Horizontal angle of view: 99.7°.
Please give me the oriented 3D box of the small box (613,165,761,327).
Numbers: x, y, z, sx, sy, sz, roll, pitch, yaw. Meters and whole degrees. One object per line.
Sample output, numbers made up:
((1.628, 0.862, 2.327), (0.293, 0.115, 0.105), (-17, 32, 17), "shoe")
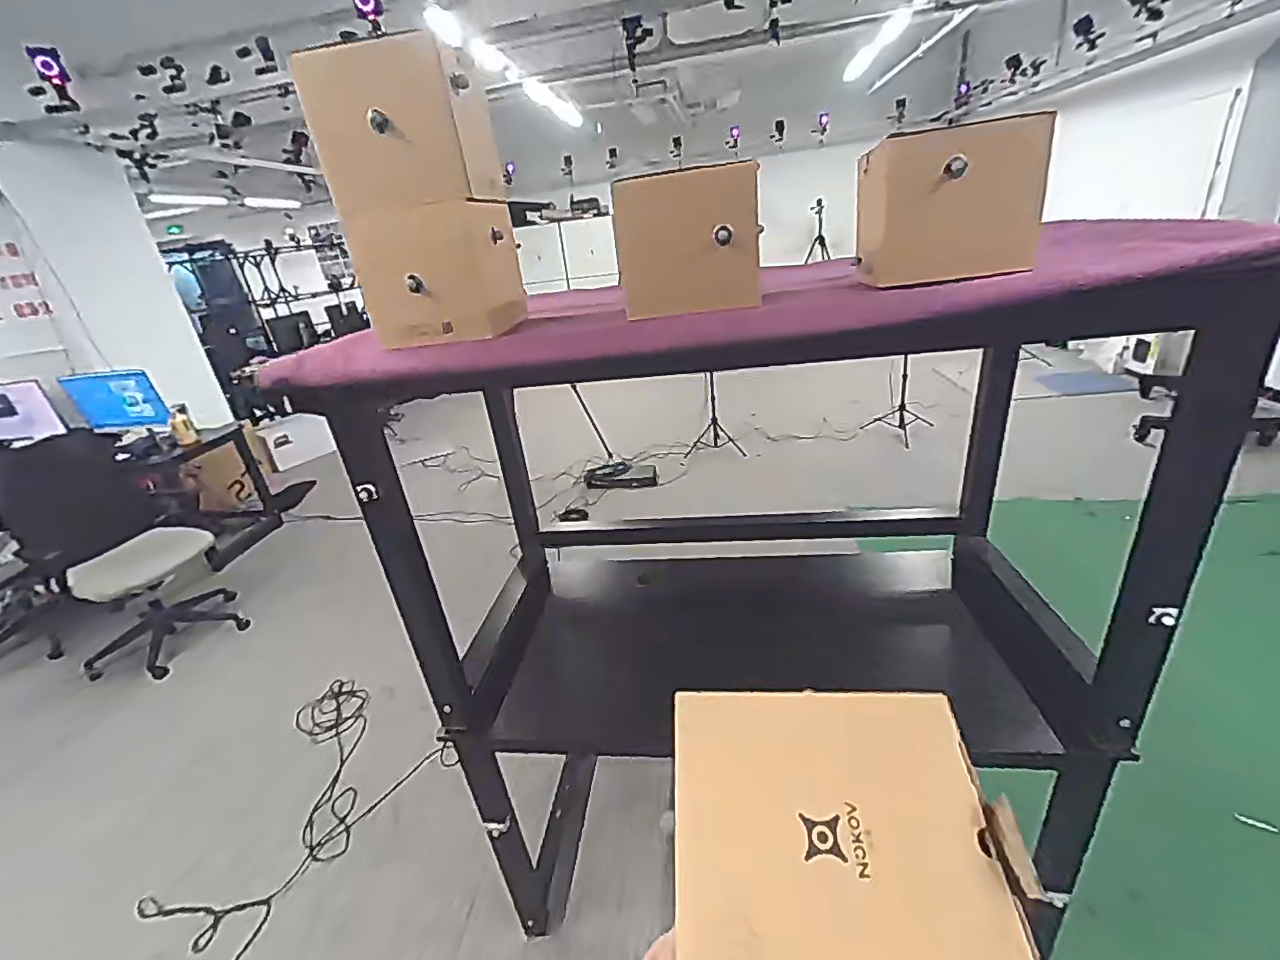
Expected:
((0.072, -0.315, 0.739), (0.179, 0.176, 0.168), (-4, 24, 9), "small box")

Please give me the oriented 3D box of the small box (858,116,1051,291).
((0.392, -0.346, 0.709), (0.179, 0.176, 0.168), (-2, 22, 11), "small box")

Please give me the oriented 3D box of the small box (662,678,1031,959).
((0.110, 0.248, 0.358), (0.179, 0.176, 0.168), (-2, 45, 6), "small box")

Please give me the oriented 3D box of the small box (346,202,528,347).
((-0.269, -0.288, 0.766), (0.168, 0.176, 0.179), (-3, 25, 7), "small box")
